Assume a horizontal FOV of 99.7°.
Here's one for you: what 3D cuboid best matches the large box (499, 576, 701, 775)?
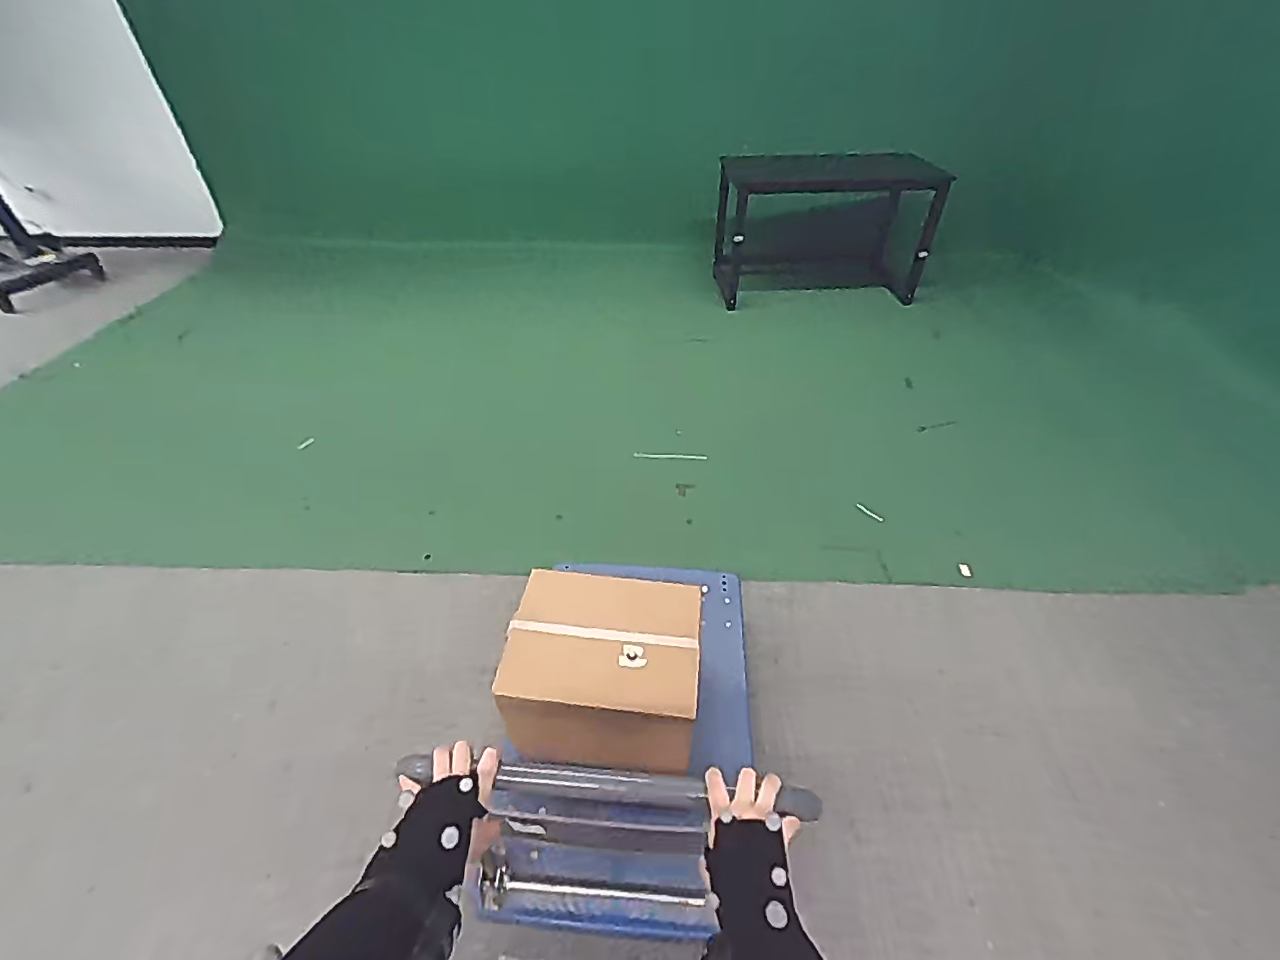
[{"bbox_3d":[-0.075,0.456,1.271,0.408,0.320,0.320,5,42,4],"label":"large box"}]
